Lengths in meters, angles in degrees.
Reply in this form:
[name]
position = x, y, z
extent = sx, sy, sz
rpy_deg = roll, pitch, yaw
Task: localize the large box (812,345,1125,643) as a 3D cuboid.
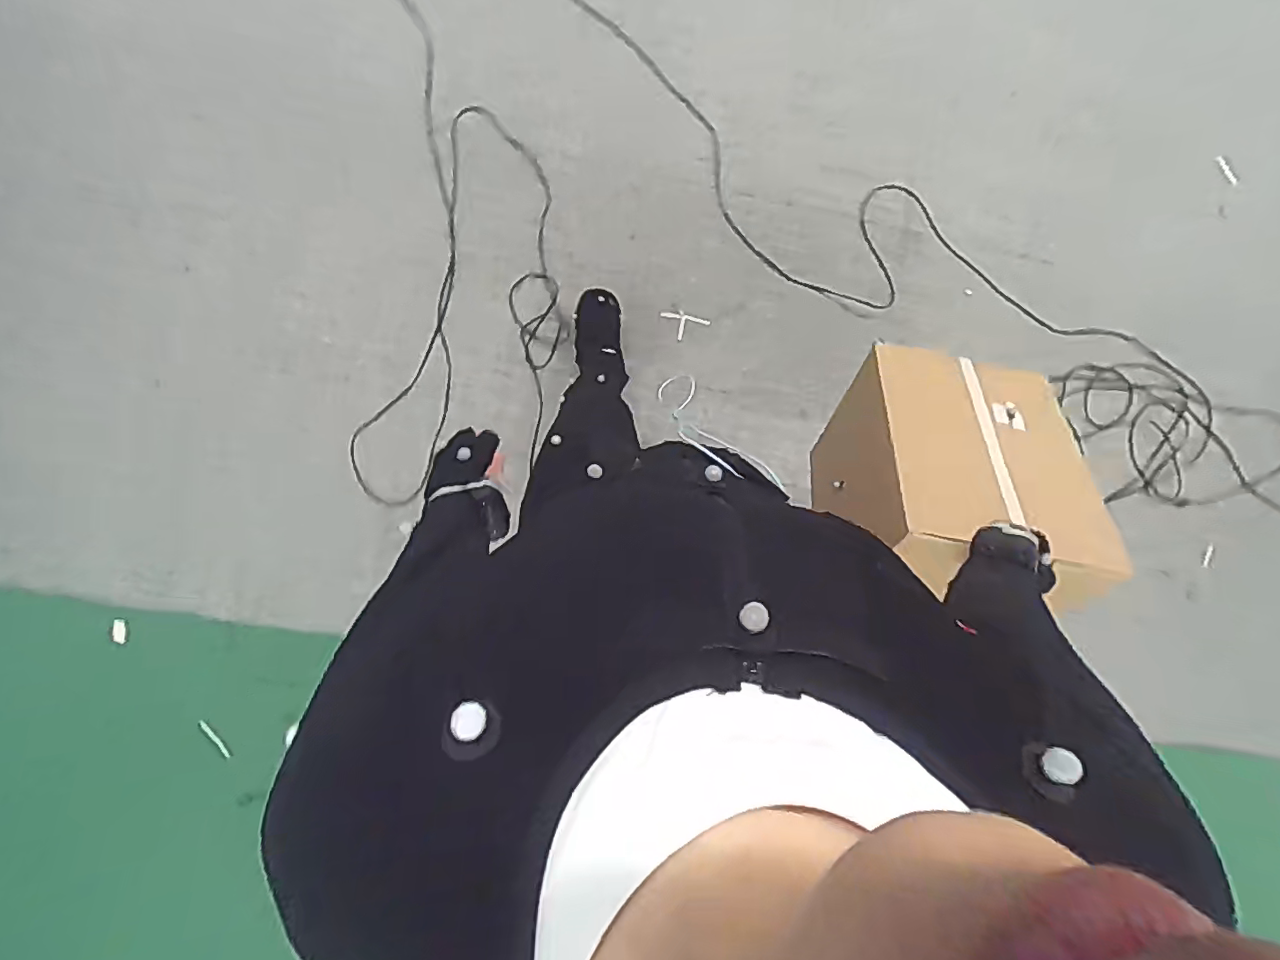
[large box]
position = 0.517, 0.028, 0.964
extent = 0.320, 0.320, 0.408
rpy_deg = 11, 52, -1
